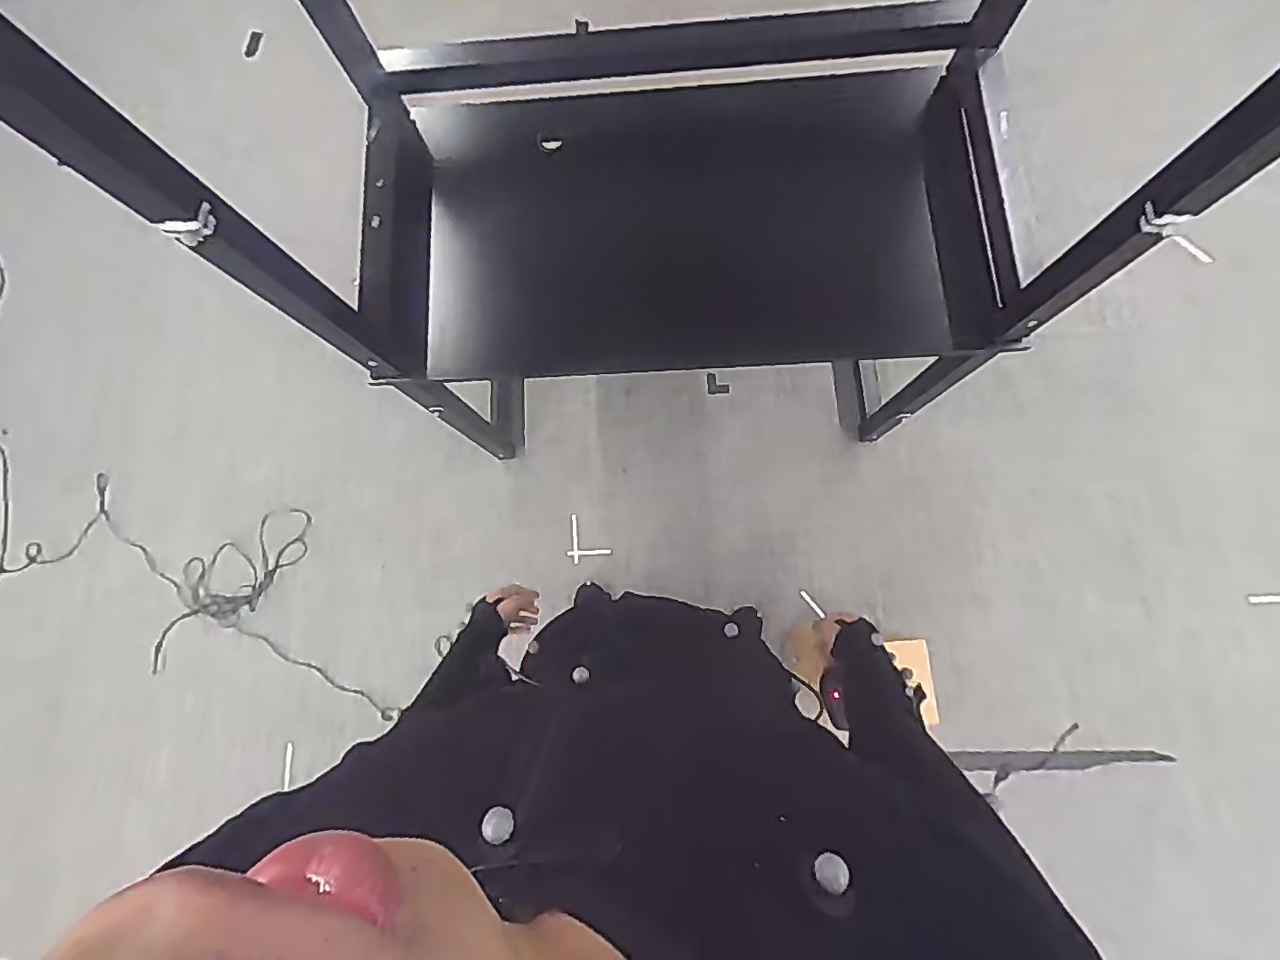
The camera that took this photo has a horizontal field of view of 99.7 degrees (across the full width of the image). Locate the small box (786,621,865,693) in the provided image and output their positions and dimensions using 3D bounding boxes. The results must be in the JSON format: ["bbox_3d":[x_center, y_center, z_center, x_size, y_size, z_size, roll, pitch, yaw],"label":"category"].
[{"bbox_3d":[0.514,0.482,1.492,0.179,0.176,0.168,-4,80,3],"label":"small box"}]

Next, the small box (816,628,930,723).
[{"bbox_3d":[0.491,0.416,1.171,0.179,0.176,0.168,-5,81,2],"label":"small box"}]
